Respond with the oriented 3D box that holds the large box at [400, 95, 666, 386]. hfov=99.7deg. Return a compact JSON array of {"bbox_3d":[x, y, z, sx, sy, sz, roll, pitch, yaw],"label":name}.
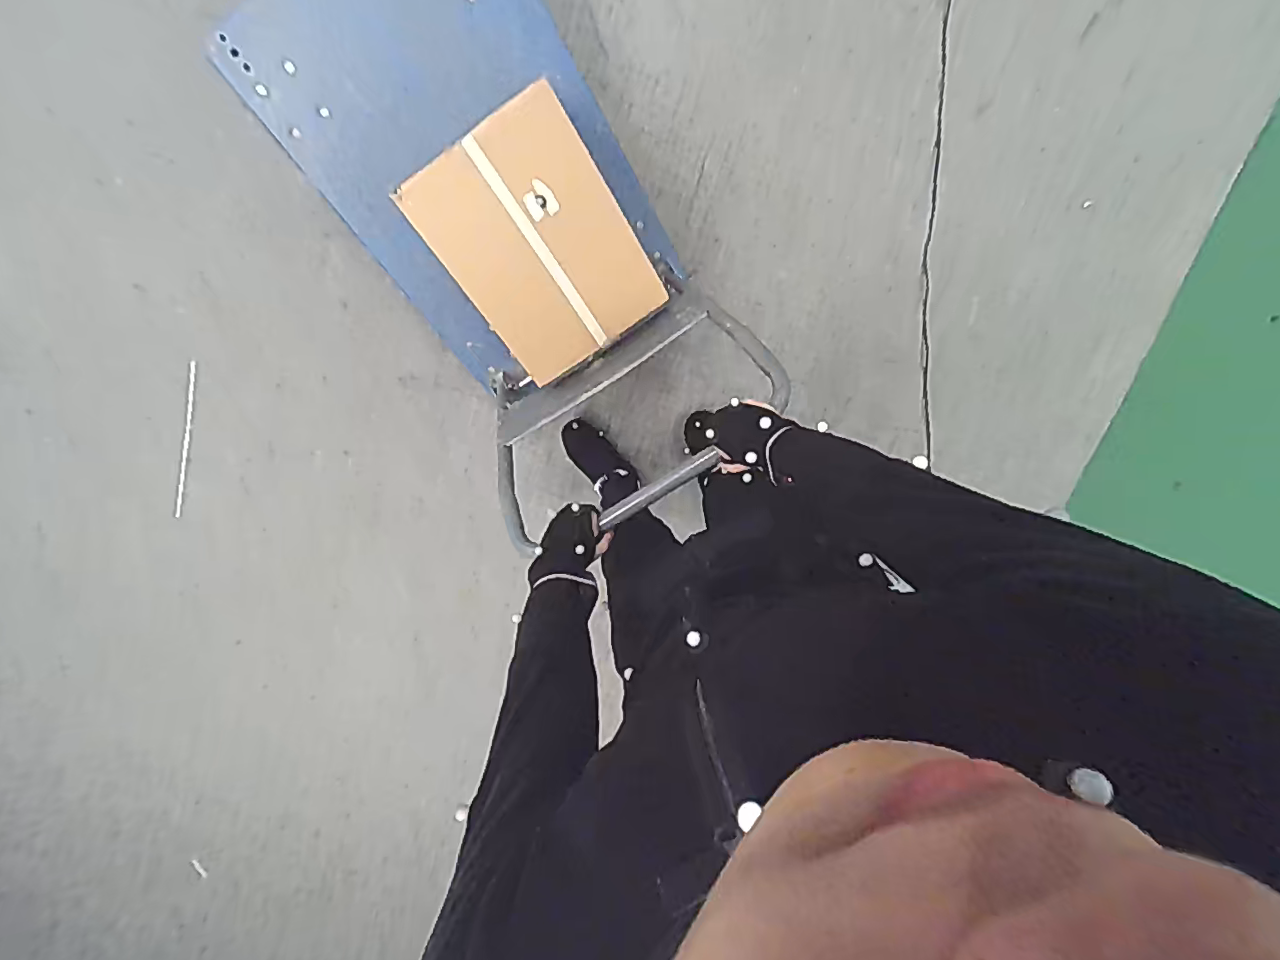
[{"bbox_3d":[-0.200,-0.476,1.113,0.320,0.320,0.408,-33,120,7],"label":"large box"}]
